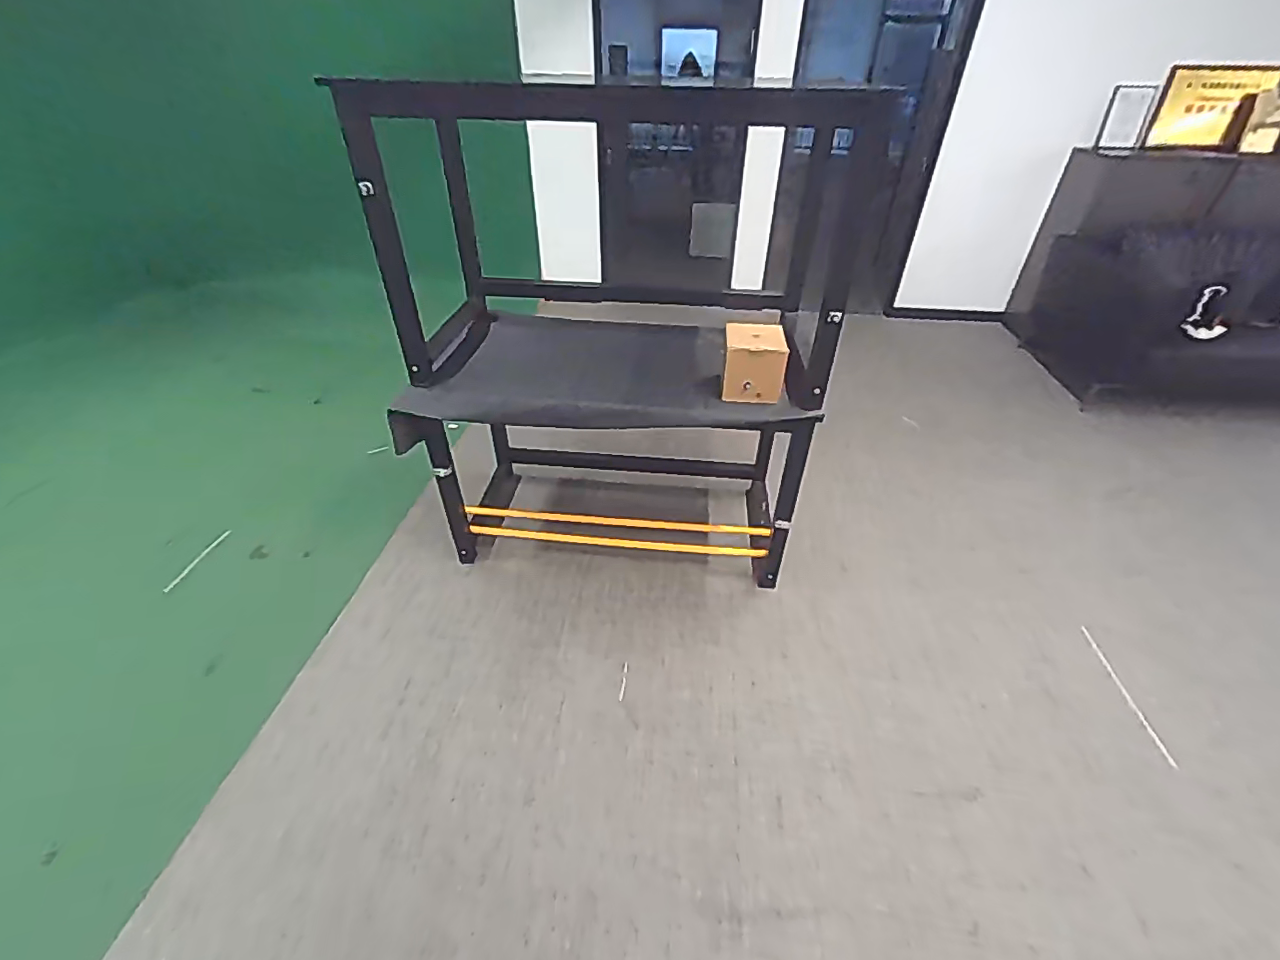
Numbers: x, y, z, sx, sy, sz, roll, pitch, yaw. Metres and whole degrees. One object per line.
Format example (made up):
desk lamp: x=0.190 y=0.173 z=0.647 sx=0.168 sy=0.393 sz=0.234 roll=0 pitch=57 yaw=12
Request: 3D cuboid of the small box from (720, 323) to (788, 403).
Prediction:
small box: x=0.323 y=-0.340 z=1.565 sx=0.168 sy=0.176 sz=0.179 roll=3 pitch=38 yaw=4
